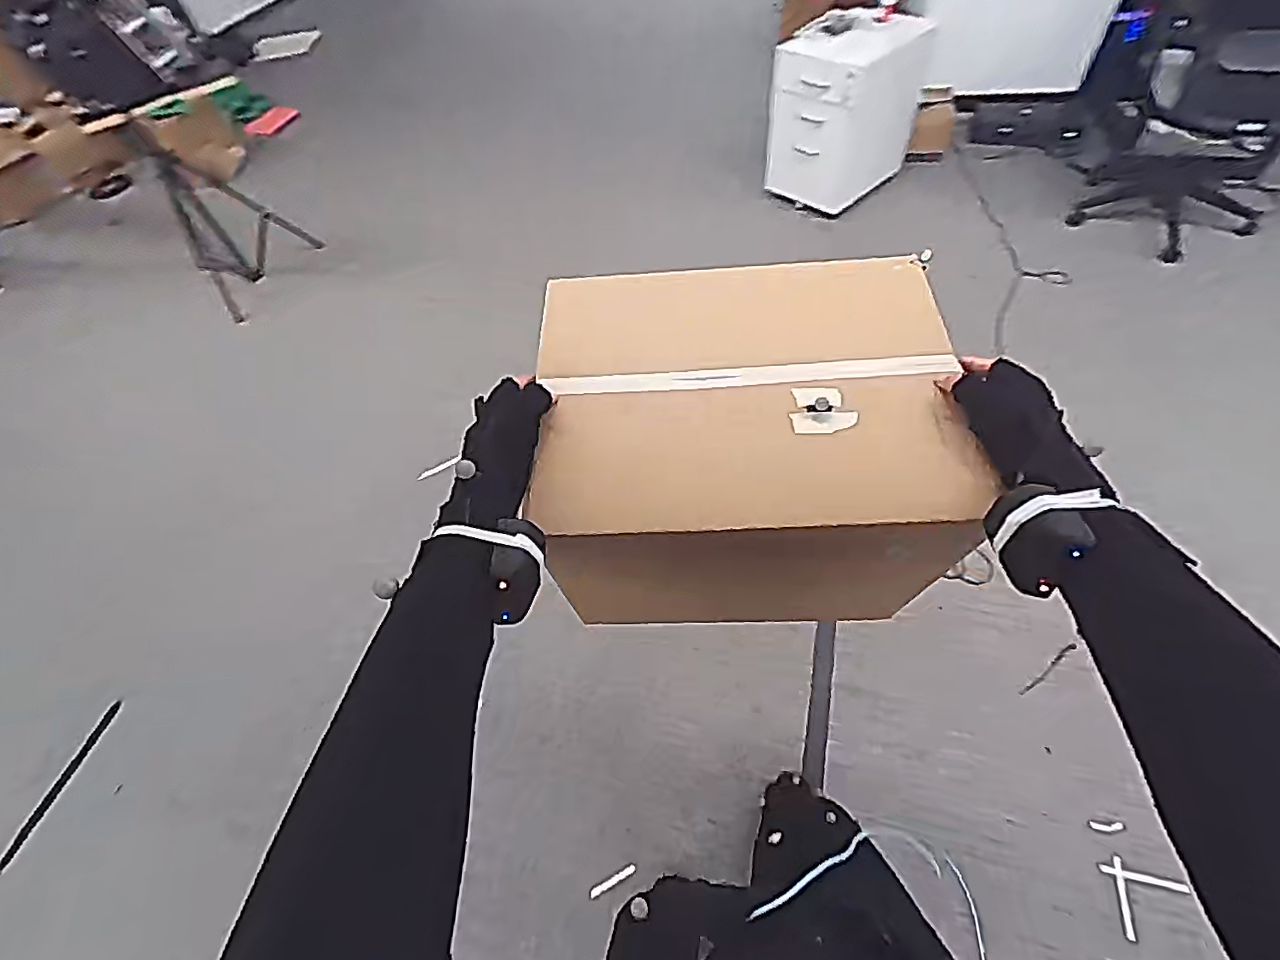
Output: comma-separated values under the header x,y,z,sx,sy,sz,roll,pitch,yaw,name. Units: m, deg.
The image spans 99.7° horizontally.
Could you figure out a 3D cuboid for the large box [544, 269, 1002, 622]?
x,y,z,sx,sy,sz,roll,pitch,yaw,name
0.120,-0.020,0.668,0.408,0.320,0.320,-2,61,4,large box
